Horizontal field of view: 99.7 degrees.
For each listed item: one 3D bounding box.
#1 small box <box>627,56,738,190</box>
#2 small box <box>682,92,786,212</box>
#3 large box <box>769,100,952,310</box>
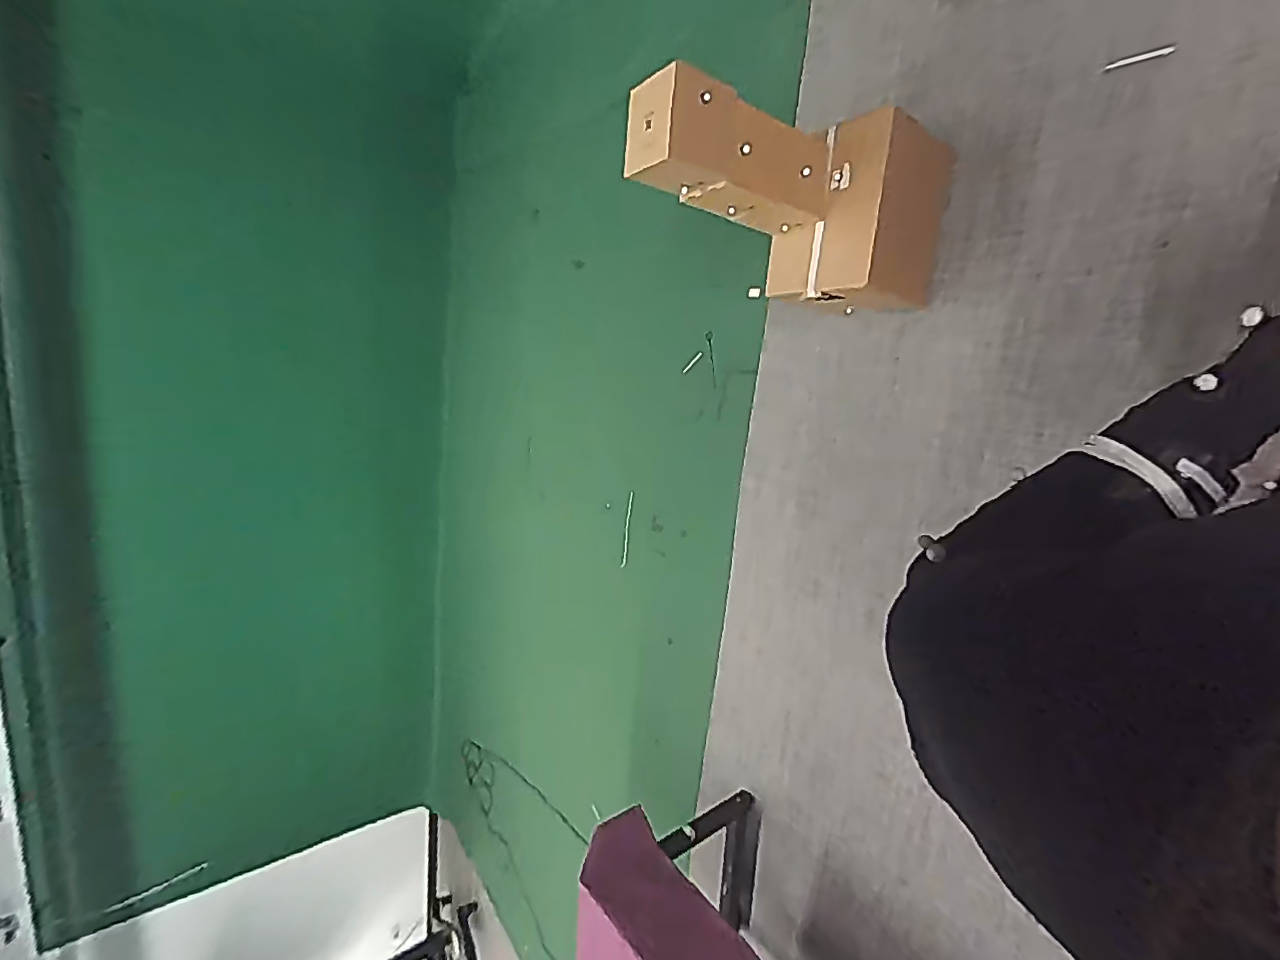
[{"bbox_3d":[0.092,-0.755,1.165,0.168,0.176,0.179,22,110,53],"label":"small box"},{"bbox_3d":[0.221,-0.755,1.265,0.168,0.176,0.179,18,107,53],"label":"small box"},{"bbox_3d":[0.589,-0.698,1.459,0.320,0.320,0.408,17,105,51],"label":"large box"}]
